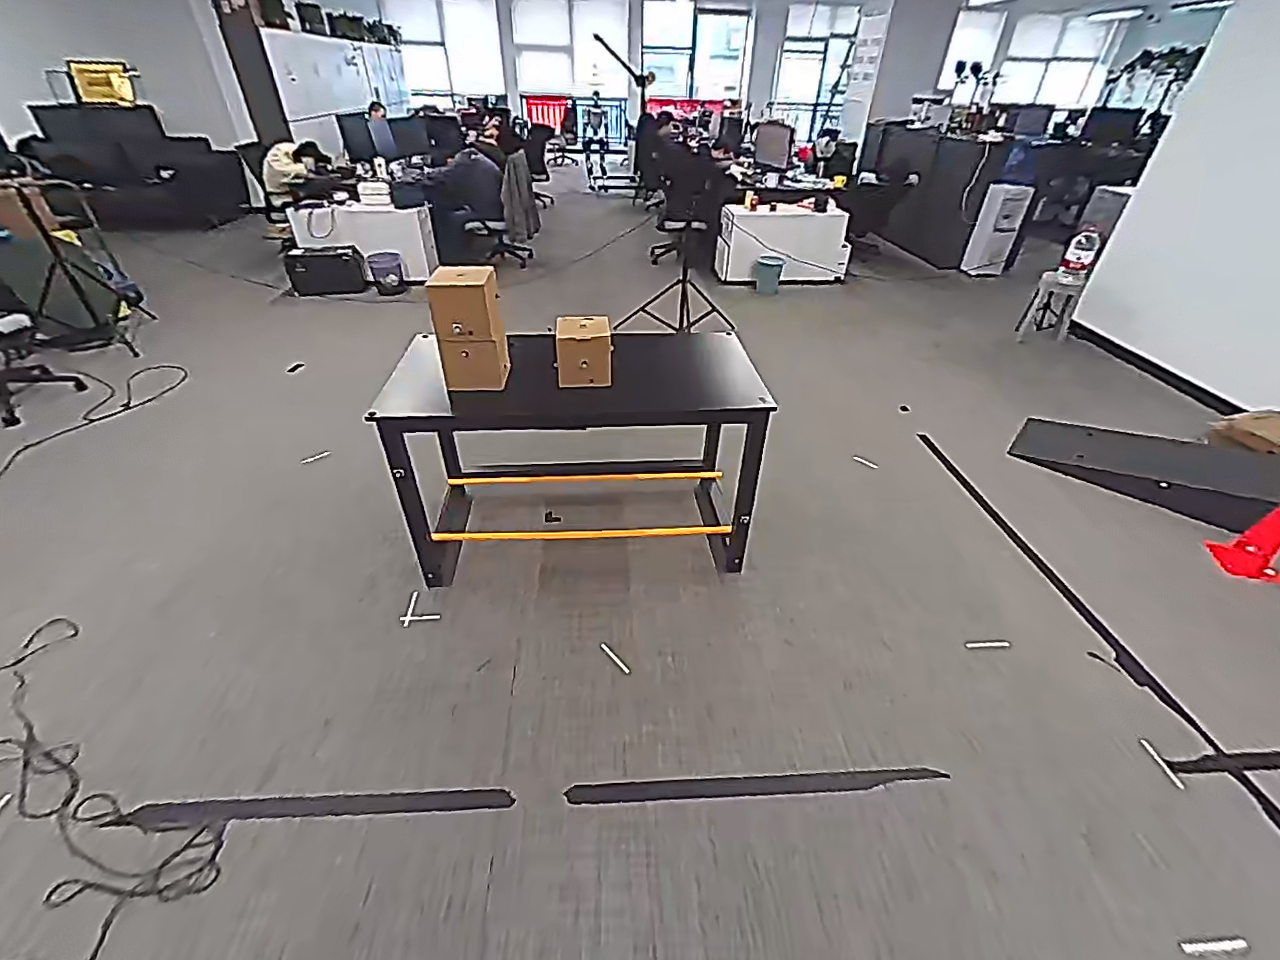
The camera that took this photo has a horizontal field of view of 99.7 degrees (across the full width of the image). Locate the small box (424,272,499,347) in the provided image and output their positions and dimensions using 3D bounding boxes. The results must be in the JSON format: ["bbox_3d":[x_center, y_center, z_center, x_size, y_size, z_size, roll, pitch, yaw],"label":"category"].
[{"bbox_3d":[-0.522,-0.508,1.610,0.168,0.176,0.179,-3,38,-3],"label":"small box"}]

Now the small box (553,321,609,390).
[{"bbox_3d":[-0.189,-0.400,1.749,0.168,0.176,0.179,-3,37,-5],"label":"small box"}]

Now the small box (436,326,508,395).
[{"bbox_3d":[-0.523,-0.379,1.708,0.179,0.176,0.168,0,37,-4],"label":"small box"}]
